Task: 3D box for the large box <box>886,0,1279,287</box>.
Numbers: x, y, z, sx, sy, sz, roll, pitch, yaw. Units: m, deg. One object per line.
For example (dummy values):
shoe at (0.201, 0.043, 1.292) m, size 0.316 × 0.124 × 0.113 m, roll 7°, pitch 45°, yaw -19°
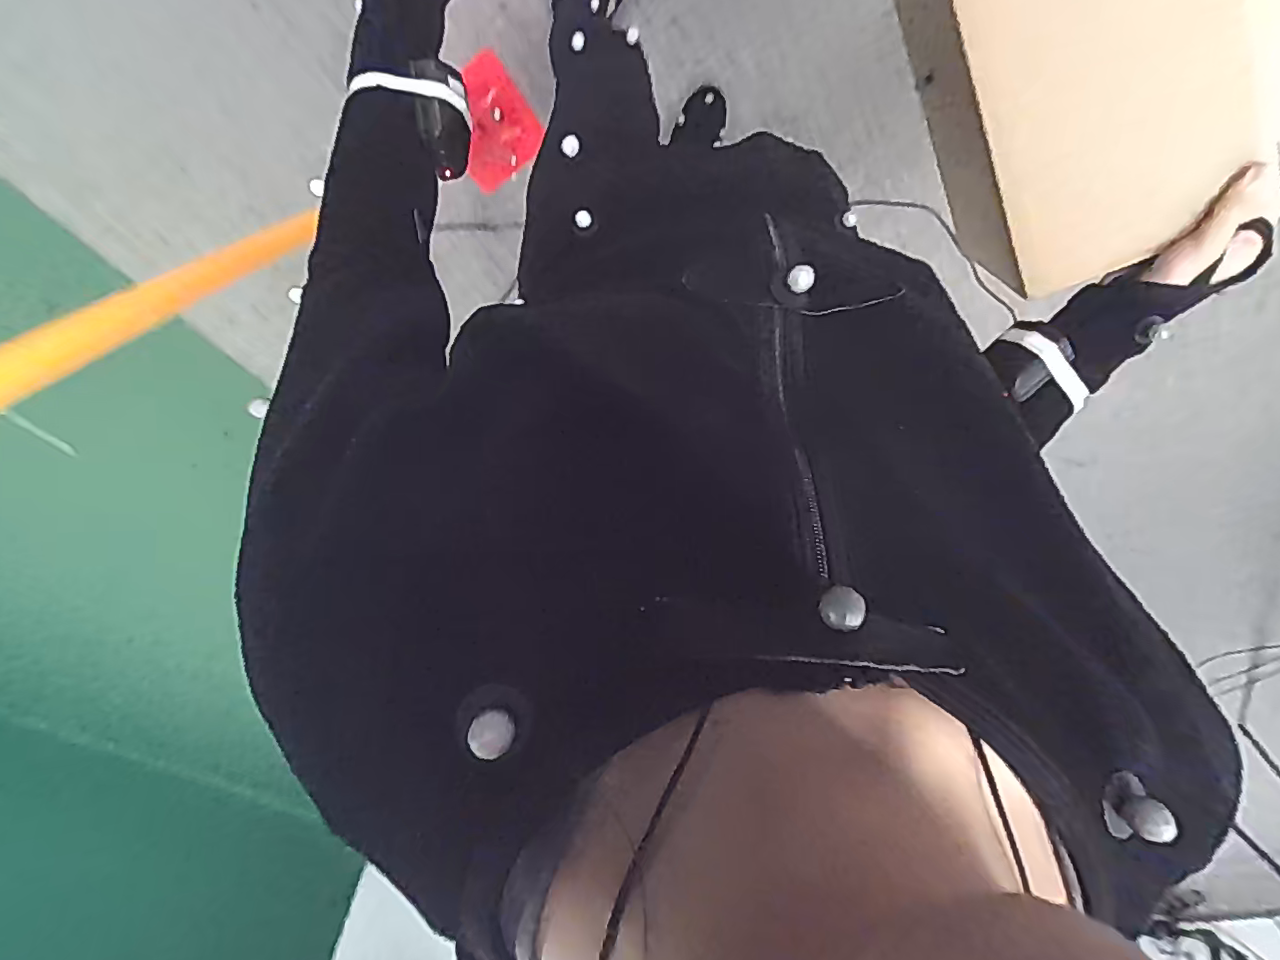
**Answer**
large box at (0.405, -0.443, 0.459) m, size 0.320 × 0.320 × 0.408 m, roll -18°, pitch 111°, yaw 28°
